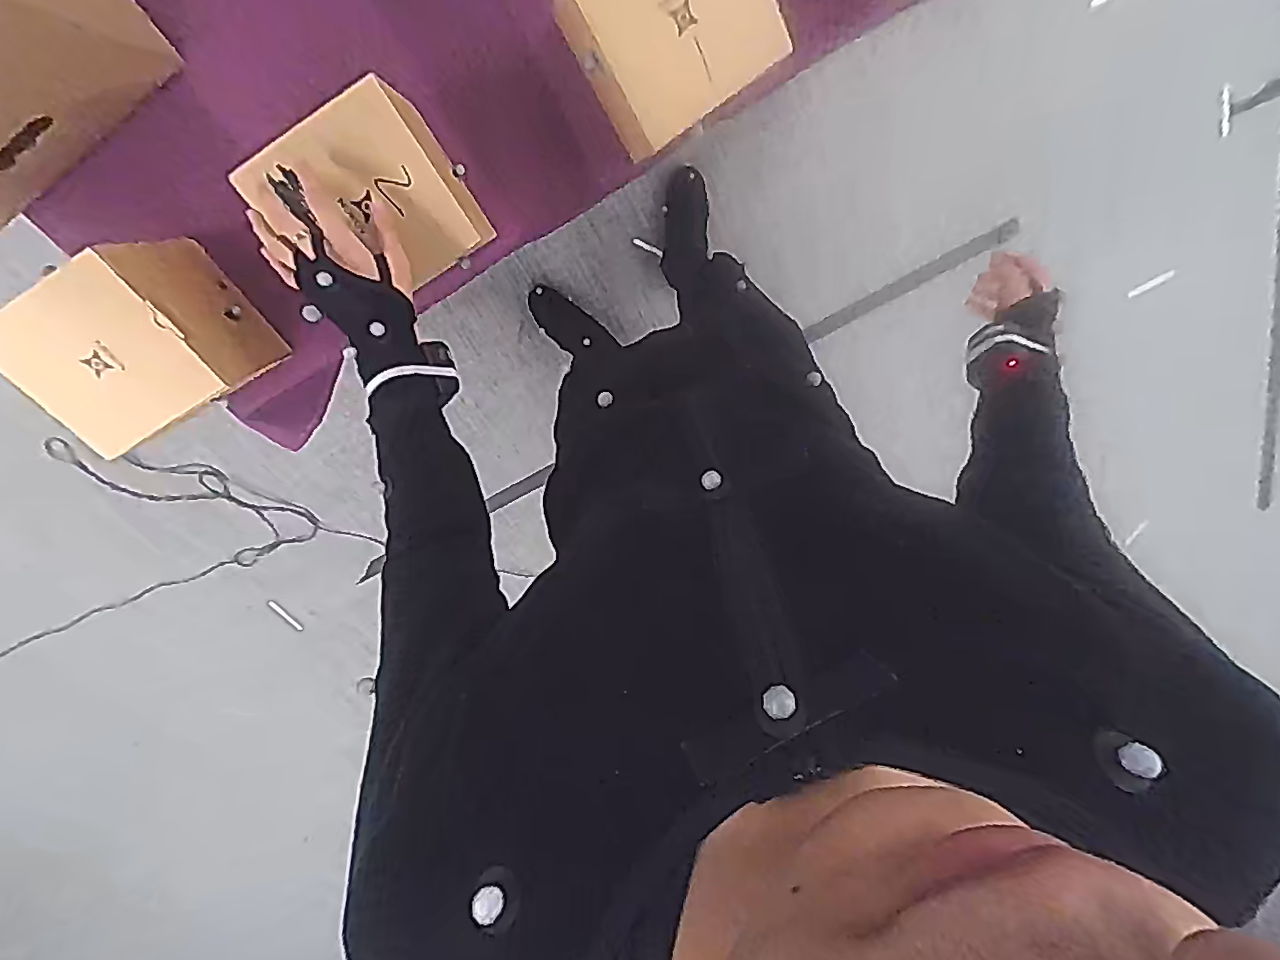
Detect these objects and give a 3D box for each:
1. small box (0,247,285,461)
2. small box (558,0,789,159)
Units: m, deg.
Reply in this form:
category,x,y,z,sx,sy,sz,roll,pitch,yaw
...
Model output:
category,x,y,z,sx,sy,sz,roll,pitch,yaw
small box,-0.577,-0.156,0.643,0.179,0.176,0.168,-30,116,5
small box,0.024,-0.474,0.575,0.168,0.176,0.179,-32,117,8
